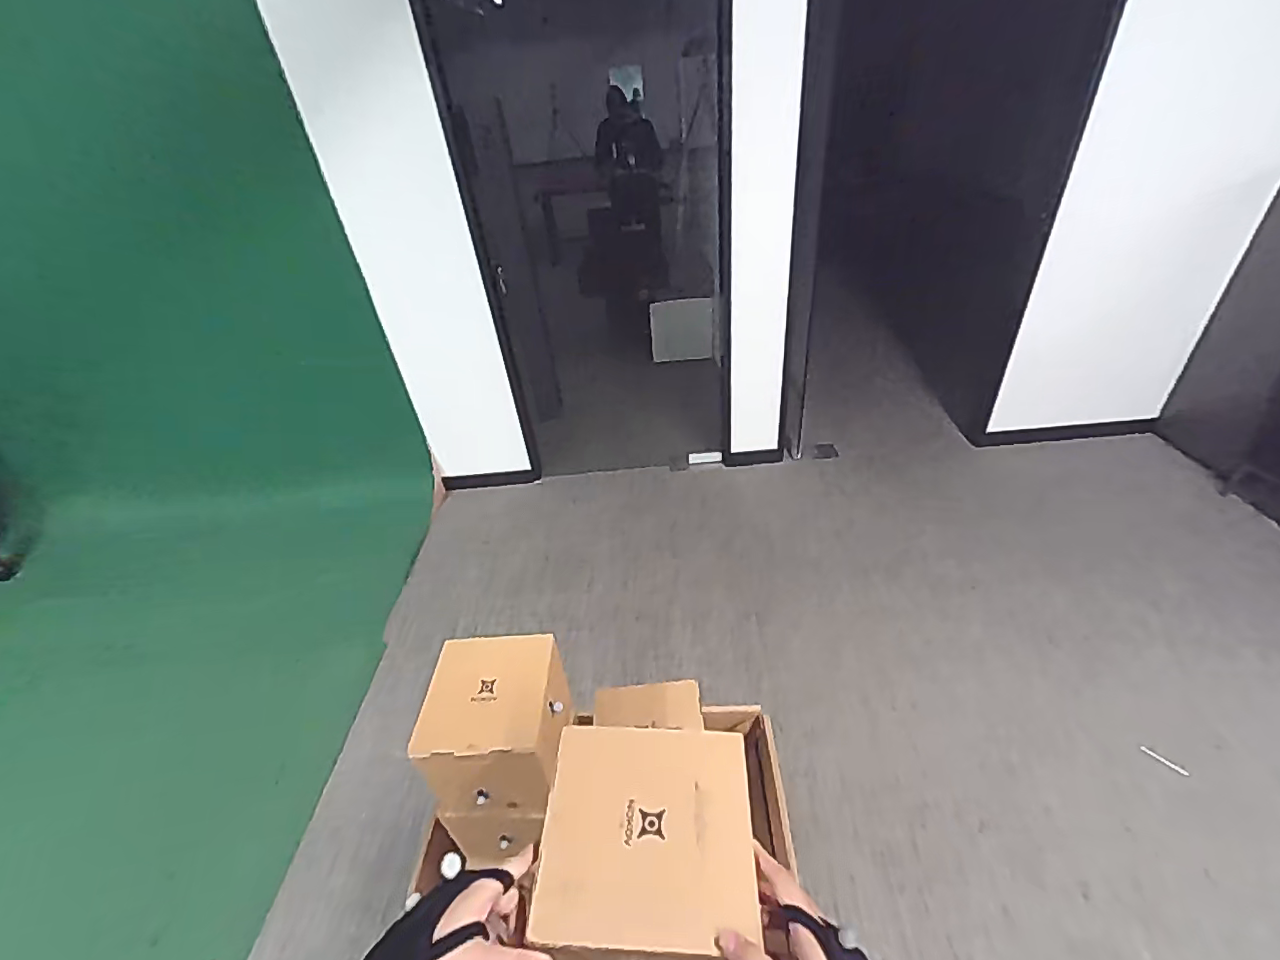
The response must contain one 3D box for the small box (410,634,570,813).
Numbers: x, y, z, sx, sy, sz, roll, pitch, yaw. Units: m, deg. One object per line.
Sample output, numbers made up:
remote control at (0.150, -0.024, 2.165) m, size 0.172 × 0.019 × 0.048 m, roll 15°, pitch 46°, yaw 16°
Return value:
small box at (-0.199, 0.348, 0.779) m, size 0.168 × 0.176 × 0.179 m, roll -4°, pitch 36°, yaw 3°
